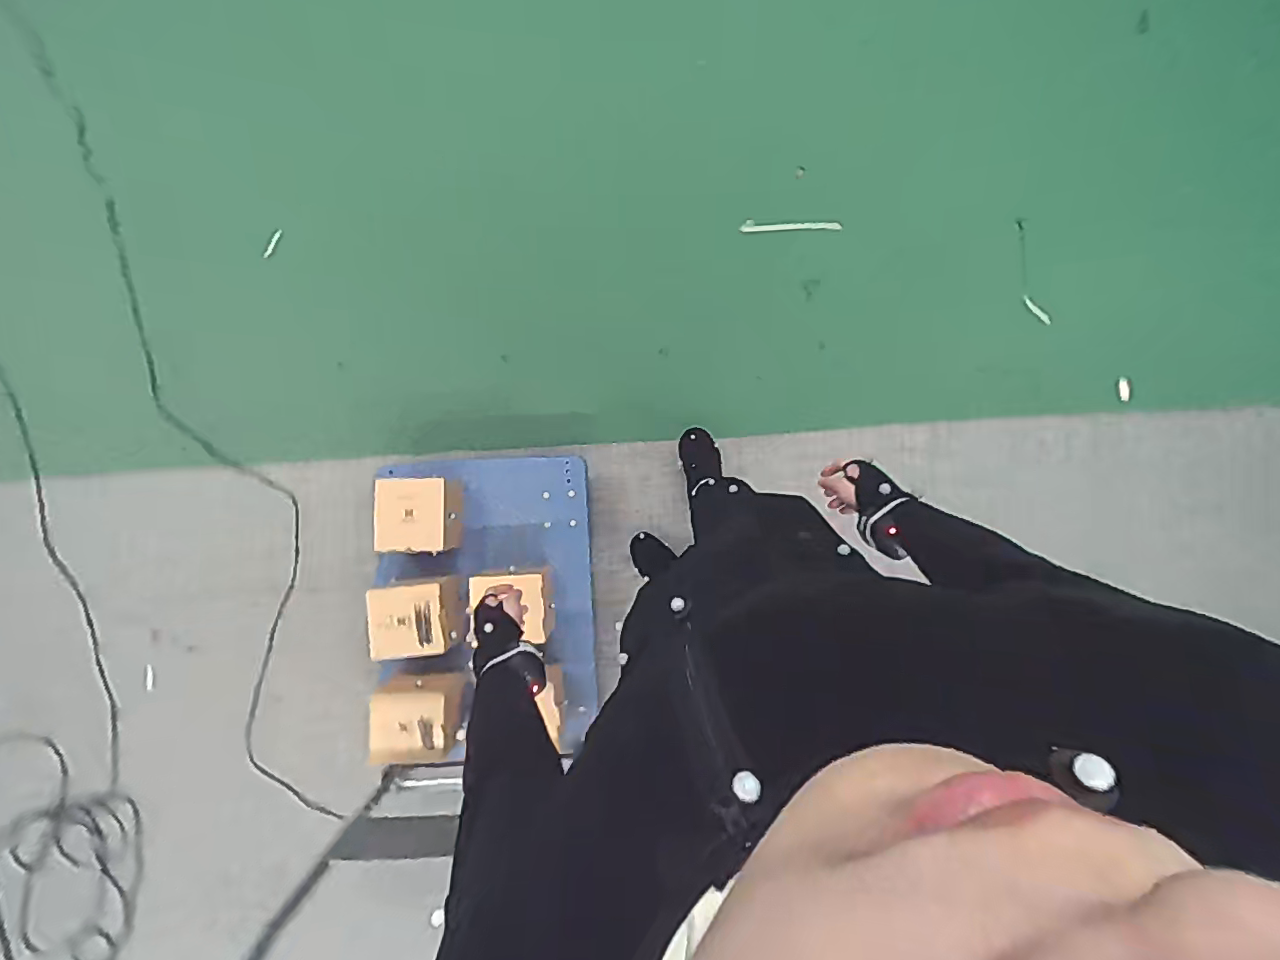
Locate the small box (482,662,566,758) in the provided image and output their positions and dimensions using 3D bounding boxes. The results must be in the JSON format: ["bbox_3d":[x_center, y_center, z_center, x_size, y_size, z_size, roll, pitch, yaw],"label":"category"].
[{"bbox_3d":[-0.280,0.564,1.347,0.179,0.176,0.168,-6,87,-2],"label":"small box"}]

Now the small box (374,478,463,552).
[{"bbox_3d":[-0.553,0.085,1.366,0.168,0.176,0.179,-1,88,-2],"label":"small box"}]

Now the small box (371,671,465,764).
[{"bbox_3d":[-0.543,0.581,1.341,0.179,0.176,0.168,-1,87,-1],"label":"small box"}]
